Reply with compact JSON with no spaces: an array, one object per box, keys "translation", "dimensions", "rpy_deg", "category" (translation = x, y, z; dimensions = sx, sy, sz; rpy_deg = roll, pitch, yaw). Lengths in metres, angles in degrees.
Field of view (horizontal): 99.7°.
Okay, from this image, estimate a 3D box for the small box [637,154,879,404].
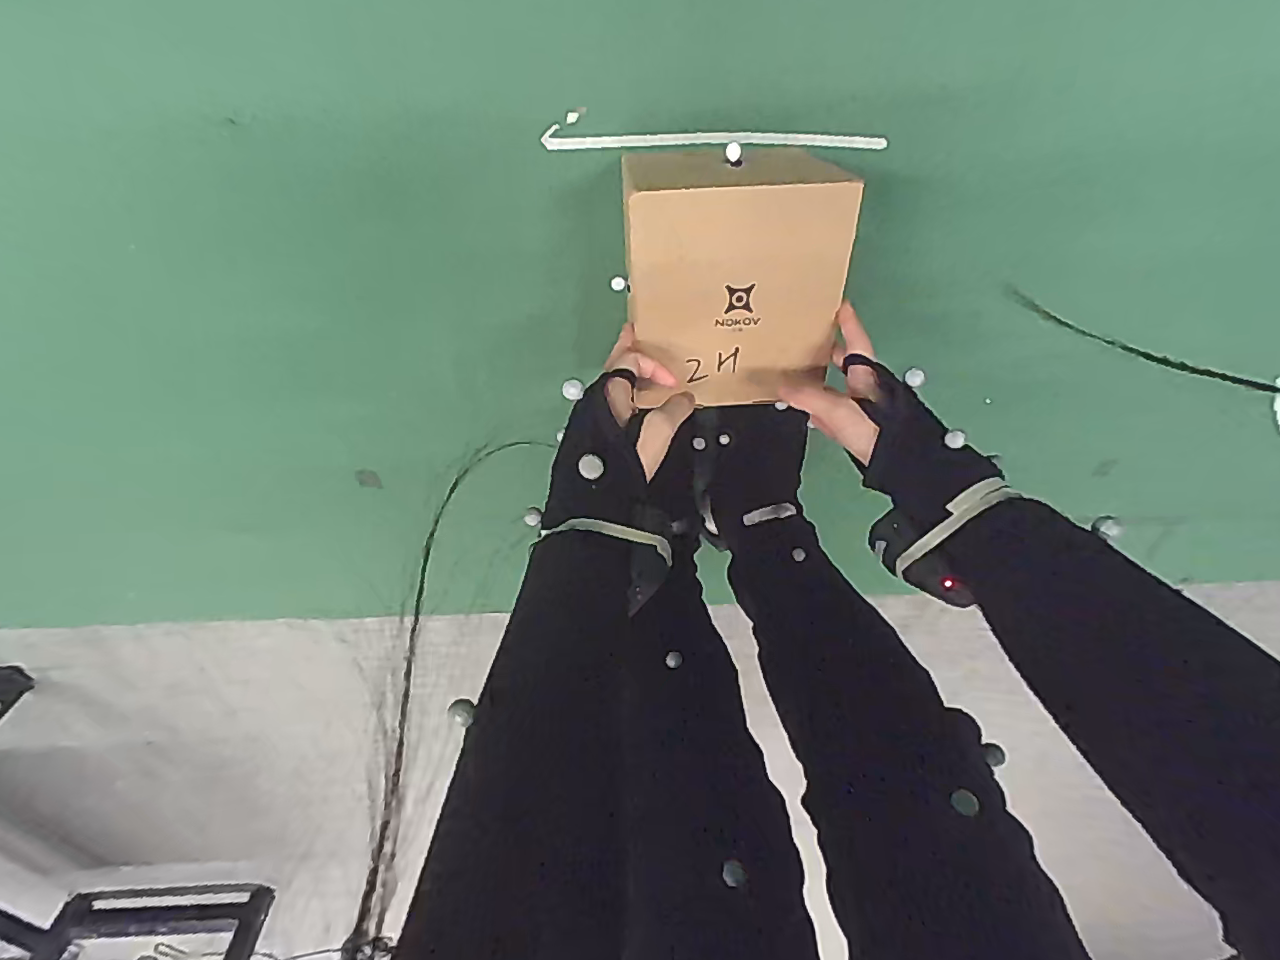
[{"translation":[0.083,-0.186,0.485],"dimensions":[0.168,0.176,0.179],"rpy_deg":[-2,127,-1],"category":"small box"}]
